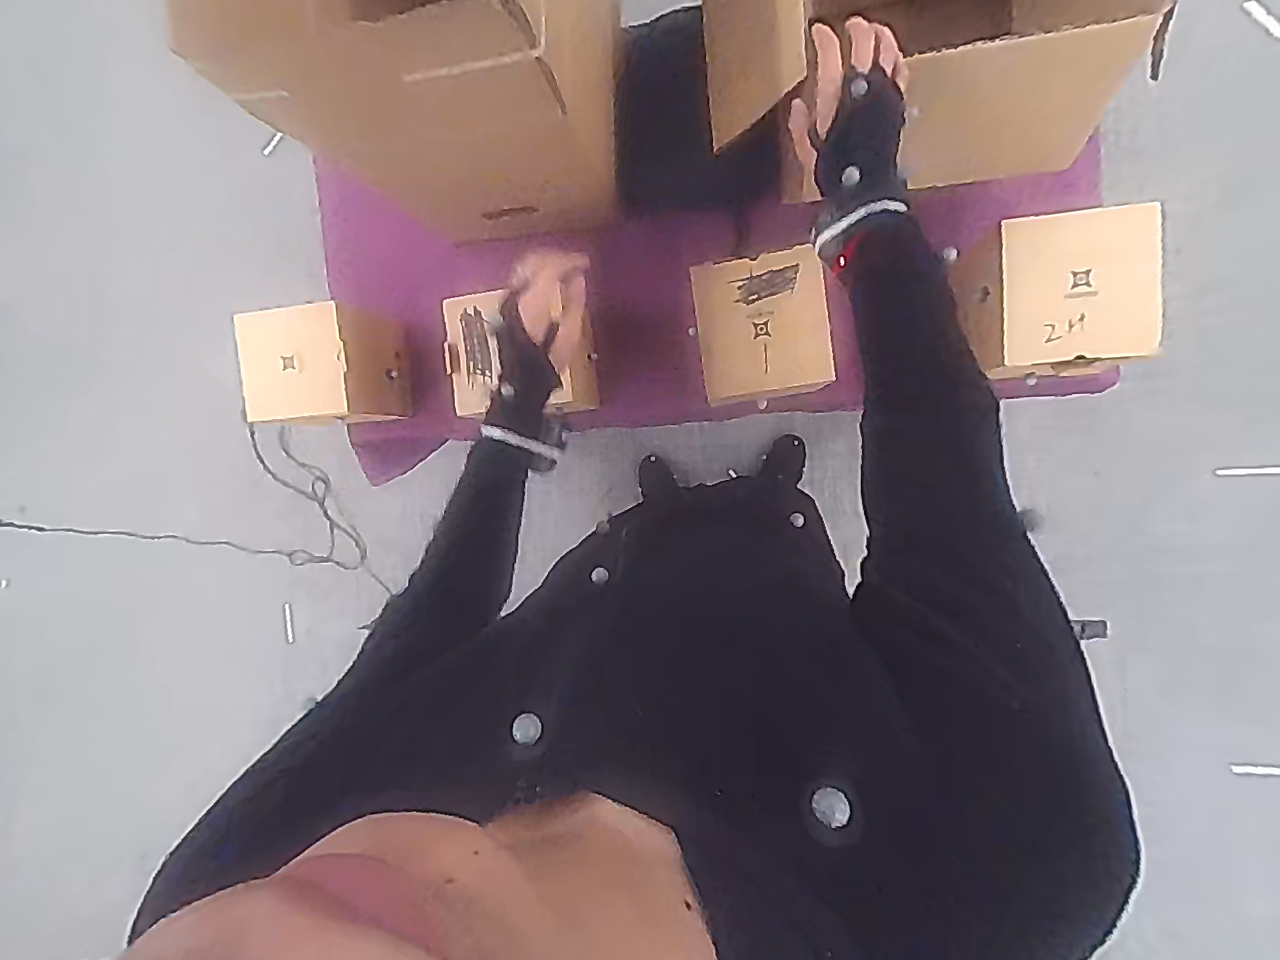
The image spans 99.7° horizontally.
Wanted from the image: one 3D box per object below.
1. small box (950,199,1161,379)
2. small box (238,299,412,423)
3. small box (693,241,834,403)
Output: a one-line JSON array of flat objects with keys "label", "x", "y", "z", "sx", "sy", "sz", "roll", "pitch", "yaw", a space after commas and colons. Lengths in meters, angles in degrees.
[{"label": "small box", "x": 0.523, "y": -0.234, "z": 0.705, "sx": 0.168, "sy": 0.176, "sz": 0.179, "roll": -3, "pitch": 94, "yaw": 11}, {"label": "small box", "x": -0.504, "y": -0.184, "z": 0.885, "sx": 0.179, "sy": 0.176, "sz": 0.168, "roll": -4, "pitch": 94, "yaw": 9}, {"label": "small box", "x": 0.169, "y": -0.210, "z": 0.769, "sx": 0.168, "sy": 0.176, "sz": 0.179, "roll": -7, "pitch": 94, "yaw": 11}]
